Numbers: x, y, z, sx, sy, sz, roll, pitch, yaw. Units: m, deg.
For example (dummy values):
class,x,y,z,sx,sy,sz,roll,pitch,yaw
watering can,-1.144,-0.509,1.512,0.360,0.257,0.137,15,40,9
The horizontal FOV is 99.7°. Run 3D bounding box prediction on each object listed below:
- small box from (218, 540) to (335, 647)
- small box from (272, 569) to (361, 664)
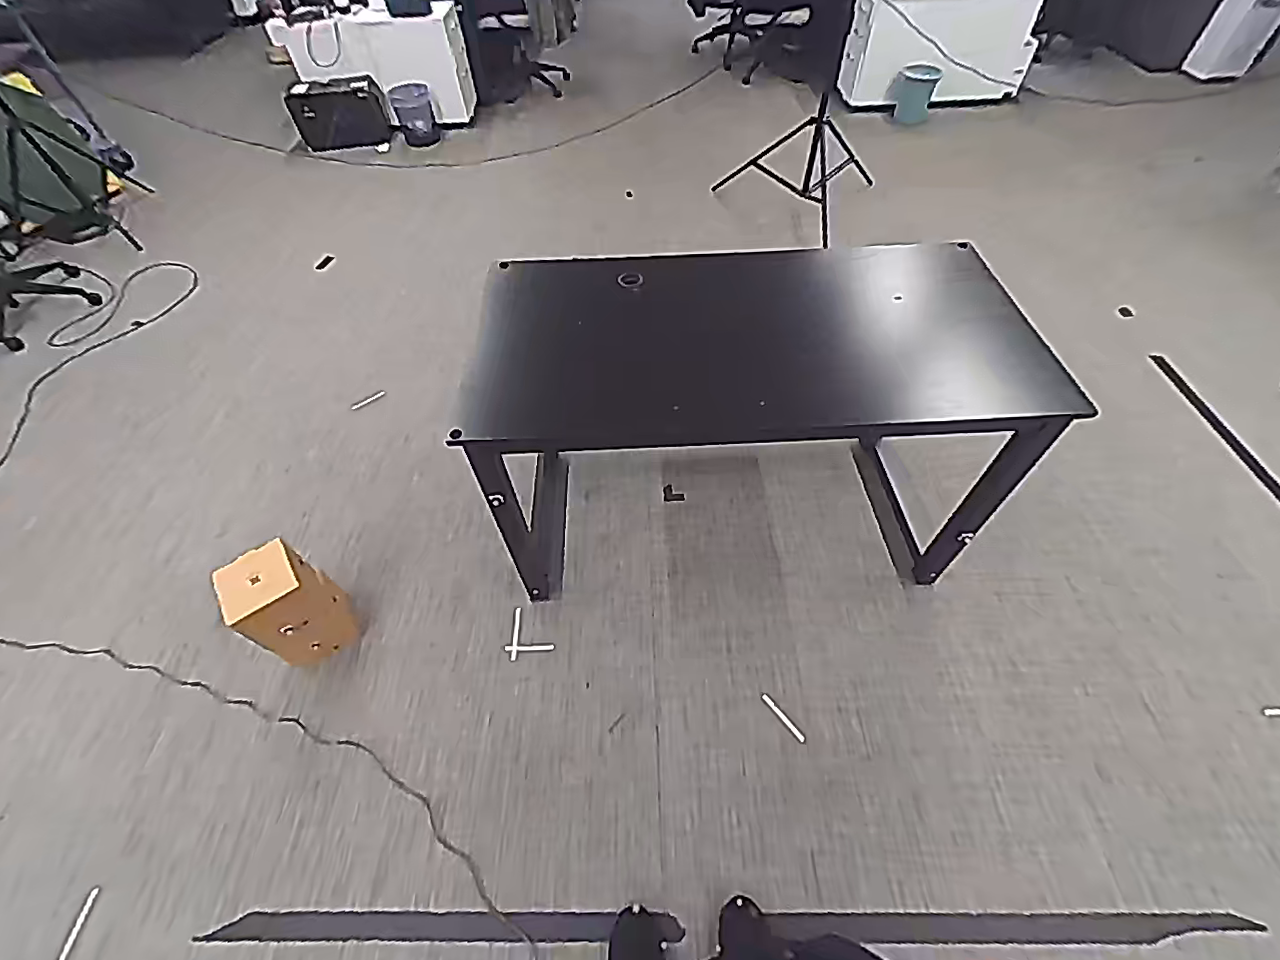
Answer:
class,x,y,z,sx,sy,sz,roll,pitch,yaw
small box,-0.915,0.291,1.371,0.168,0.176,0.179,-33,59,-19
small box,-0.908,0.388,1.503,0.168,0.176,0.179,-27,56,-19
